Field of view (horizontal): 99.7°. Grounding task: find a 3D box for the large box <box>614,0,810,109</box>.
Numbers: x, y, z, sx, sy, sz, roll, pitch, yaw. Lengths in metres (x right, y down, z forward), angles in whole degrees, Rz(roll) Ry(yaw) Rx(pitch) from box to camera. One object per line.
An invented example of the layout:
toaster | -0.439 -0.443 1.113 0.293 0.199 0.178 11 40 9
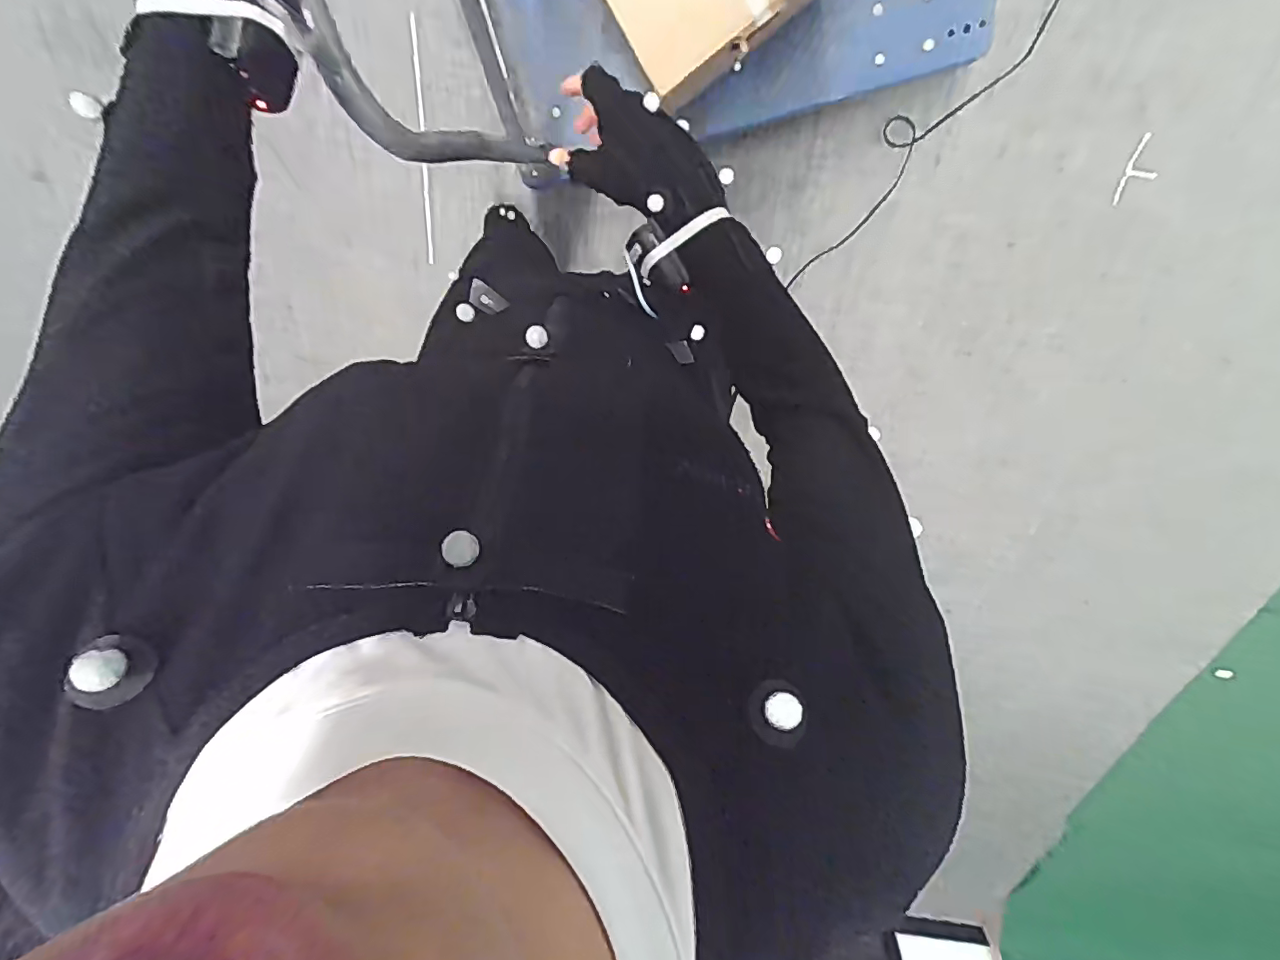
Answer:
large box | 0.066 -0.828 0.754 0.320 0.320 0.408 -29 112 19
